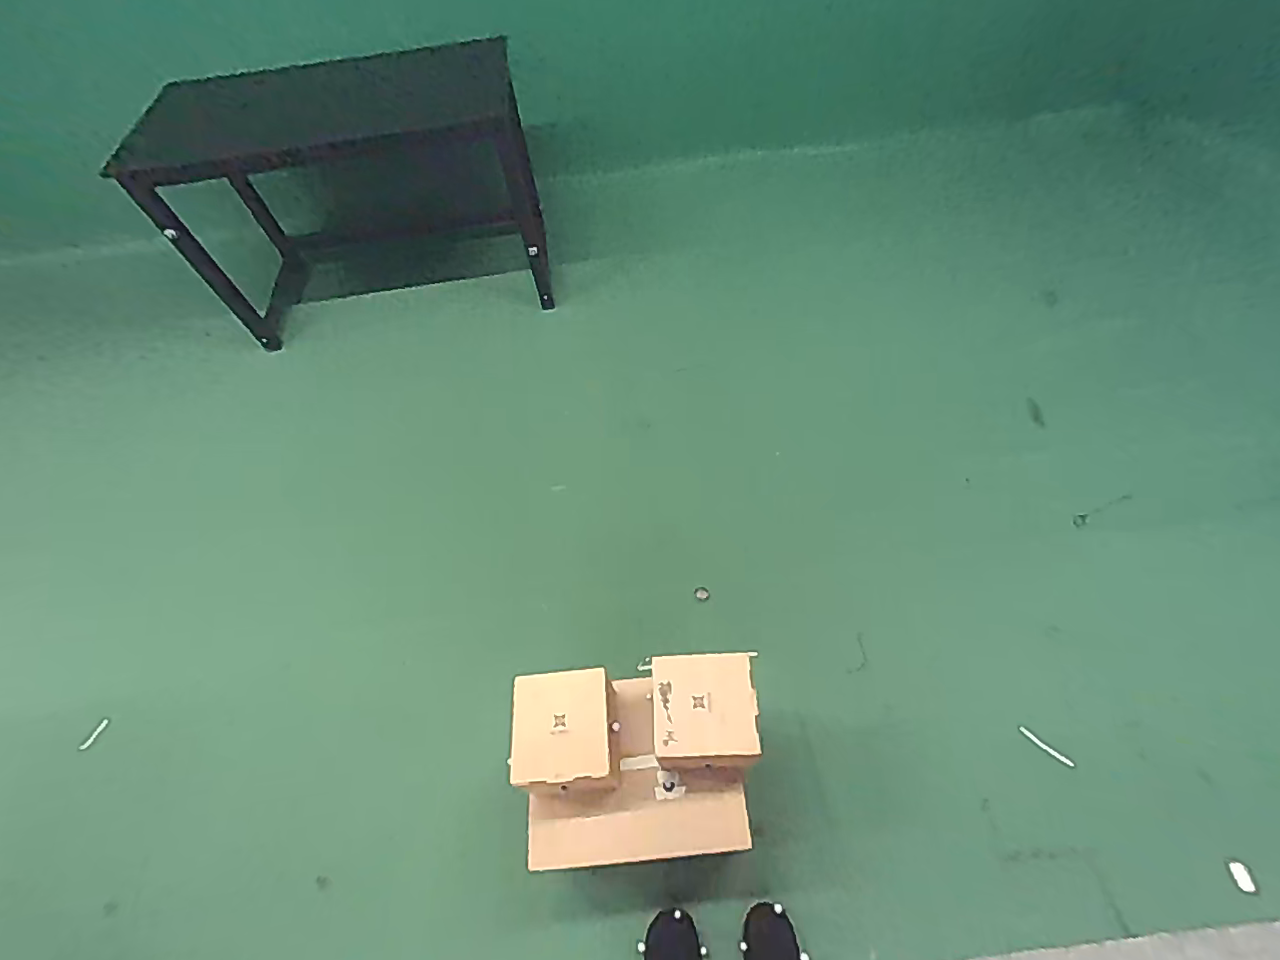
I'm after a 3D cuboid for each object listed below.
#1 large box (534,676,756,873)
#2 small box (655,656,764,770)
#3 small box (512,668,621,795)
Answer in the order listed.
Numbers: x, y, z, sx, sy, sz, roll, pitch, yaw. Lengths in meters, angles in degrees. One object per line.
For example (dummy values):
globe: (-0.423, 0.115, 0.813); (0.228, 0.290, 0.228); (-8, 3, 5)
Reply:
large box: (0.003, 0.621, 1.155); (0.408, 0.320, 0.320); (-7, 57, 1)
small box: (0.119, 0.423, 0.979); (0.179, 0.176, 0.168); (-3, 56, 4)
small box: (-0.128, 0.459, 0.983); (0.168, 0.176, 0.179); (-6, 56, 1)
